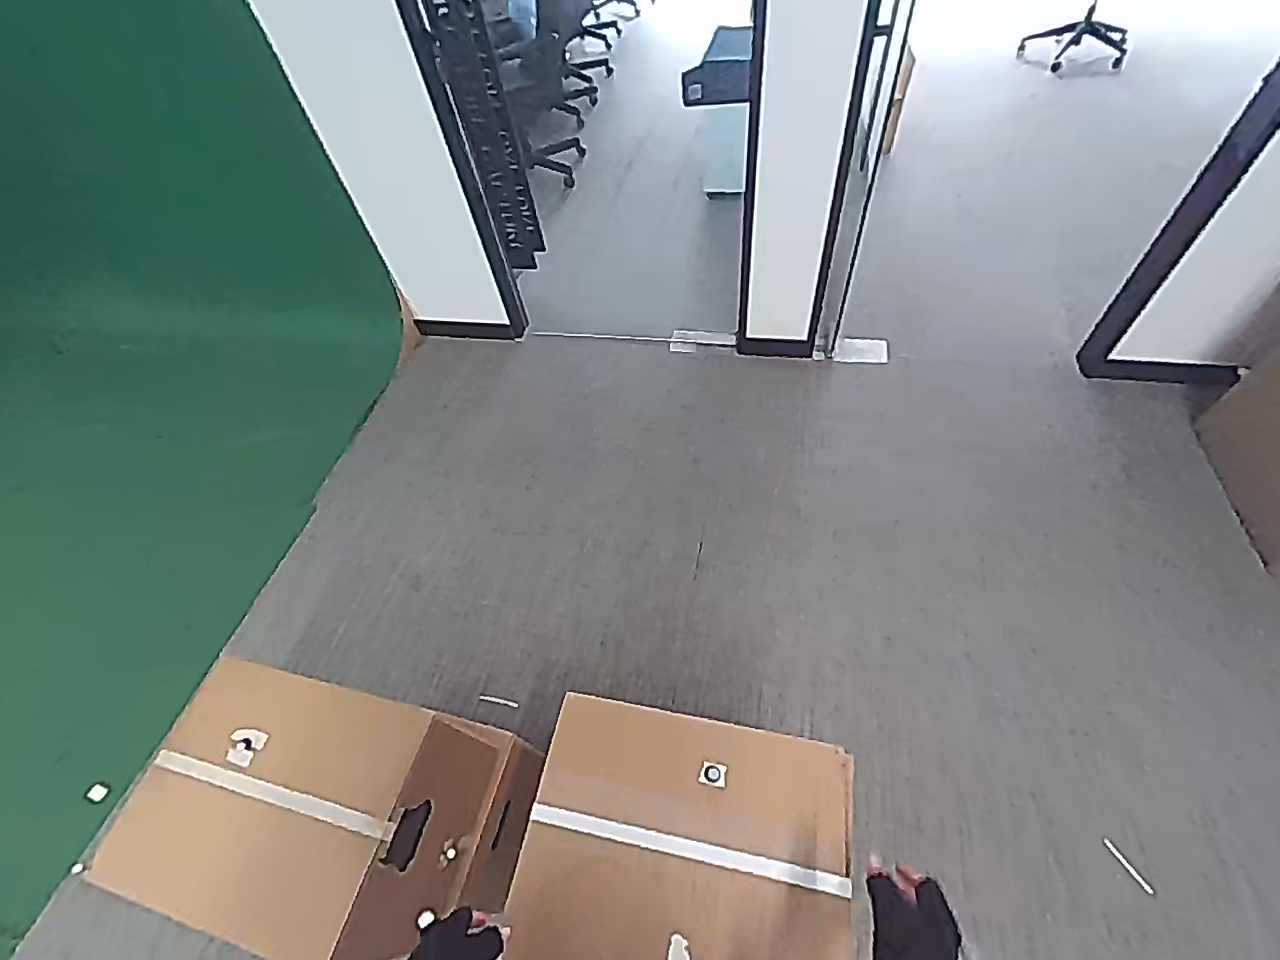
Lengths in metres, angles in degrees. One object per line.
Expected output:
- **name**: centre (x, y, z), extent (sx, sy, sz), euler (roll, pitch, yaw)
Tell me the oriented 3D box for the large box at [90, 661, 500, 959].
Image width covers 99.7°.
- **large box**: centre (-0.509, 0.529, 0.893), extent (0.408, 0.320, 0.320), euler (8, 57, 14)
